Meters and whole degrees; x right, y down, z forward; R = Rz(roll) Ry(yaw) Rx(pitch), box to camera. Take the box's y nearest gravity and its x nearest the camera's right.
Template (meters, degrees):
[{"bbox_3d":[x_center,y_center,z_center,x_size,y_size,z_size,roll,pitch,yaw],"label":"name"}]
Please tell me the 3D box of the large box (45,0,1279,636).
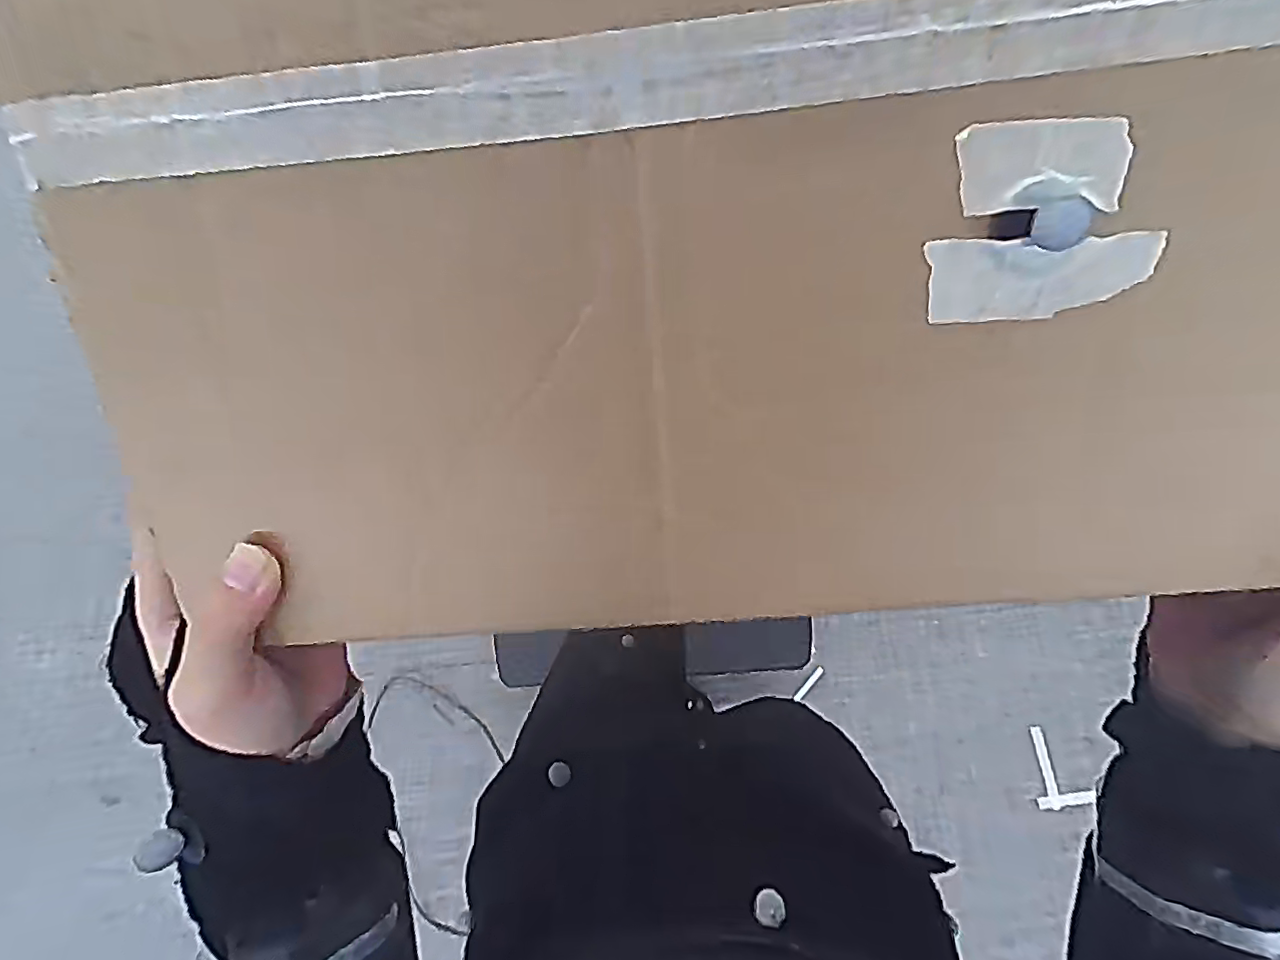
[{"bbox_3d":[0.037,-0.144,0.296,0.408,0.320,0.320,-5,105,3],"label":"large box"}]
